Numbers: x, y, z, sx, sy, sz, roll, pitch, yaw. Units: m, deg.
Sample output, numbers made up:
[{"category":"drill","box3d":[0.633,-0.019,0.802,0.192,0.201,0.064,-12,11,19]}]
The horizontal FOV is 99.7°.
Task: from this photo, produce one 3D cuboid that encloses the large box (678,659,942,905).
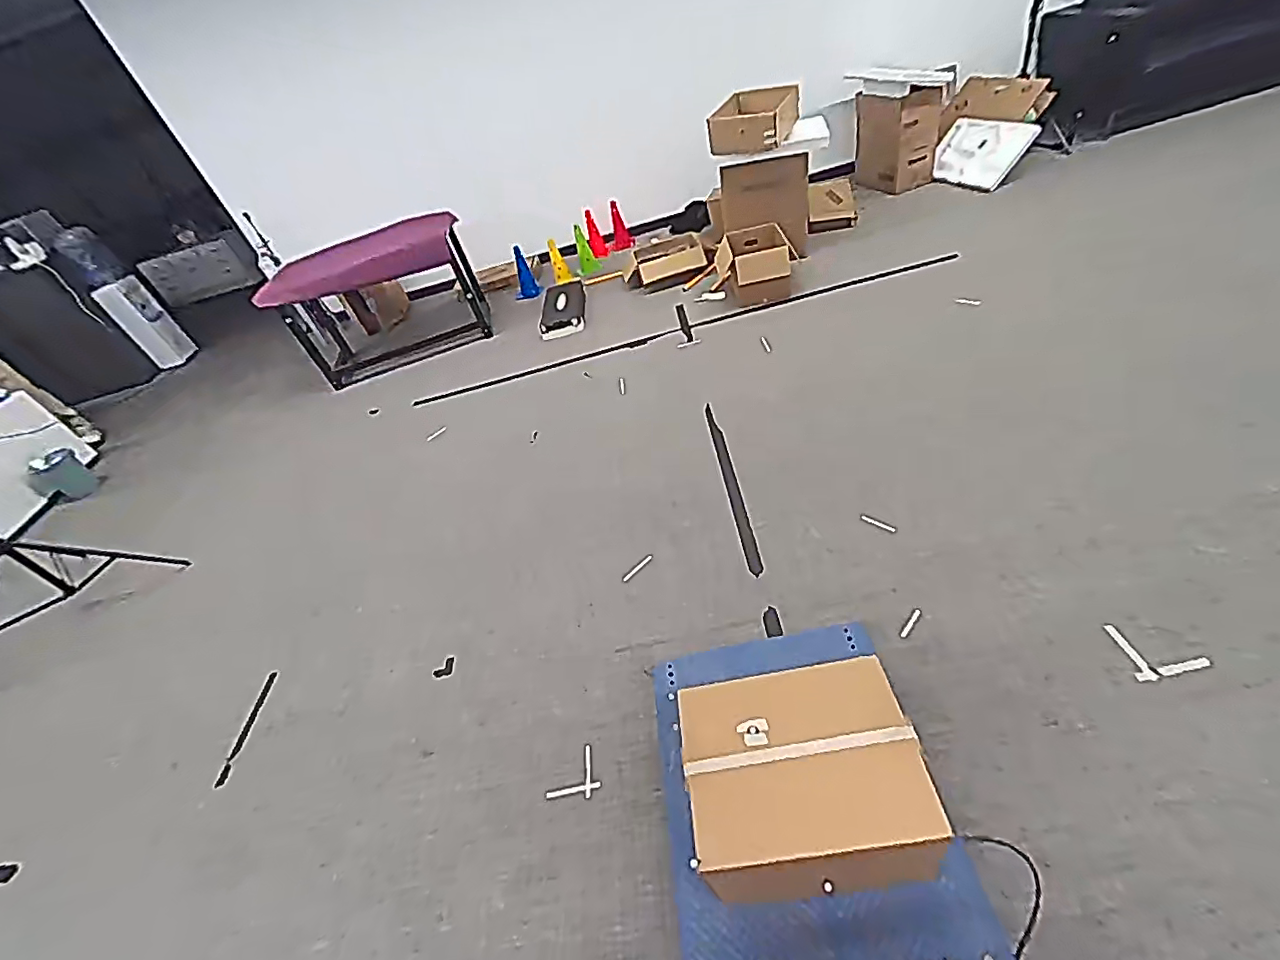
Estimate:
[{"category":"large box","box3d":[0.319,0.610,1.085,0.408,0.320,0.320,-14,40,7]}]
